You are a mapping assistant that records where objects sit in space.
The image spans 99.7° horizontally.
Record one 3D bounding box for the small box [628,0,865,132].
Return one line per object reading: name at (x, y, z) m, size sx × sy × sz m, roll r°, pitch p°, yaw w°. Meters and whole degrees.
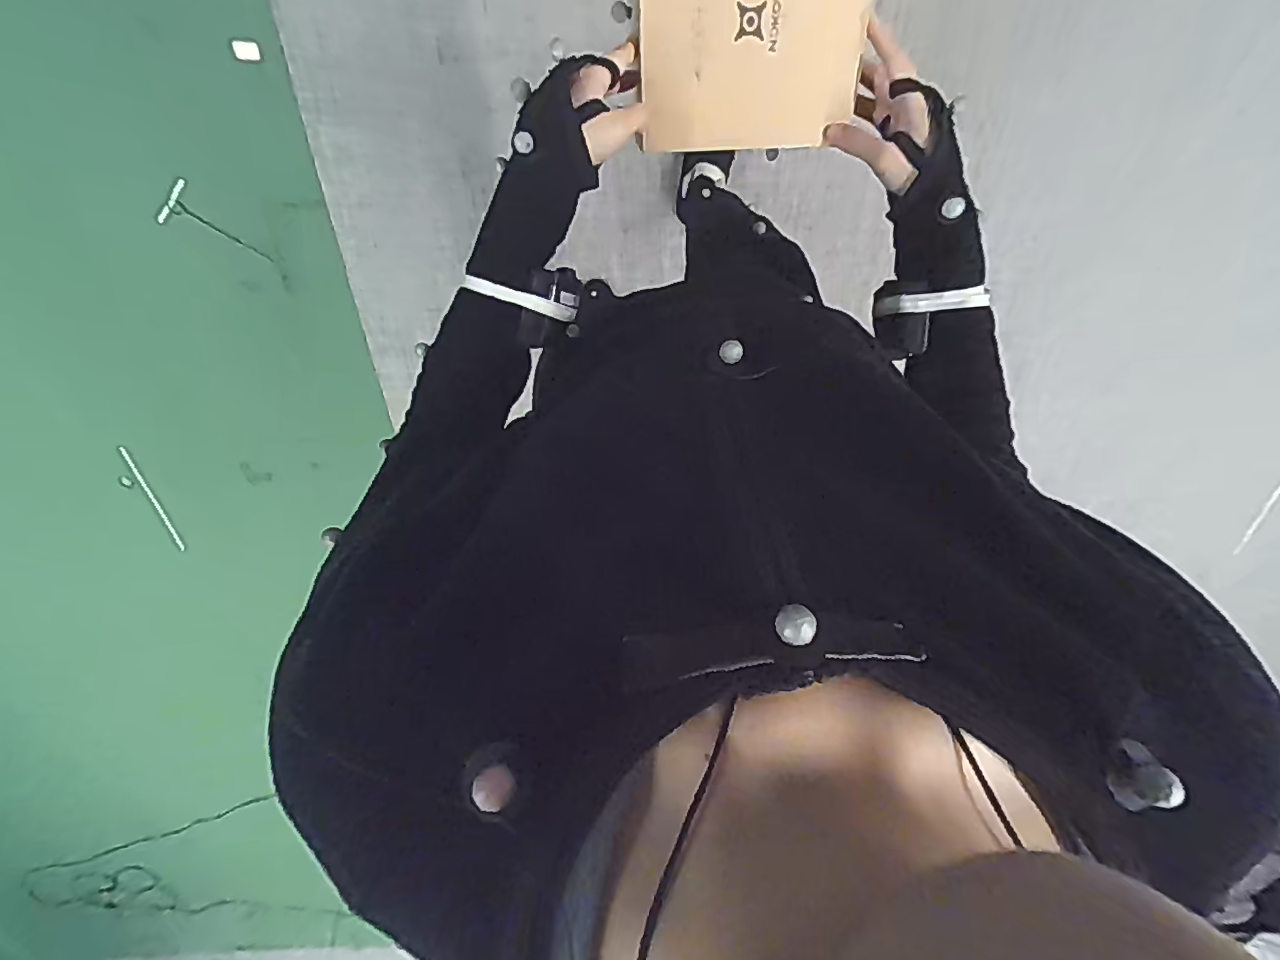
small box at (0.080, -0.406, 0.470) m, size 0.179 × 0.176 × 0.168 m, roll -3°, pitch 125°, yaw -1°
